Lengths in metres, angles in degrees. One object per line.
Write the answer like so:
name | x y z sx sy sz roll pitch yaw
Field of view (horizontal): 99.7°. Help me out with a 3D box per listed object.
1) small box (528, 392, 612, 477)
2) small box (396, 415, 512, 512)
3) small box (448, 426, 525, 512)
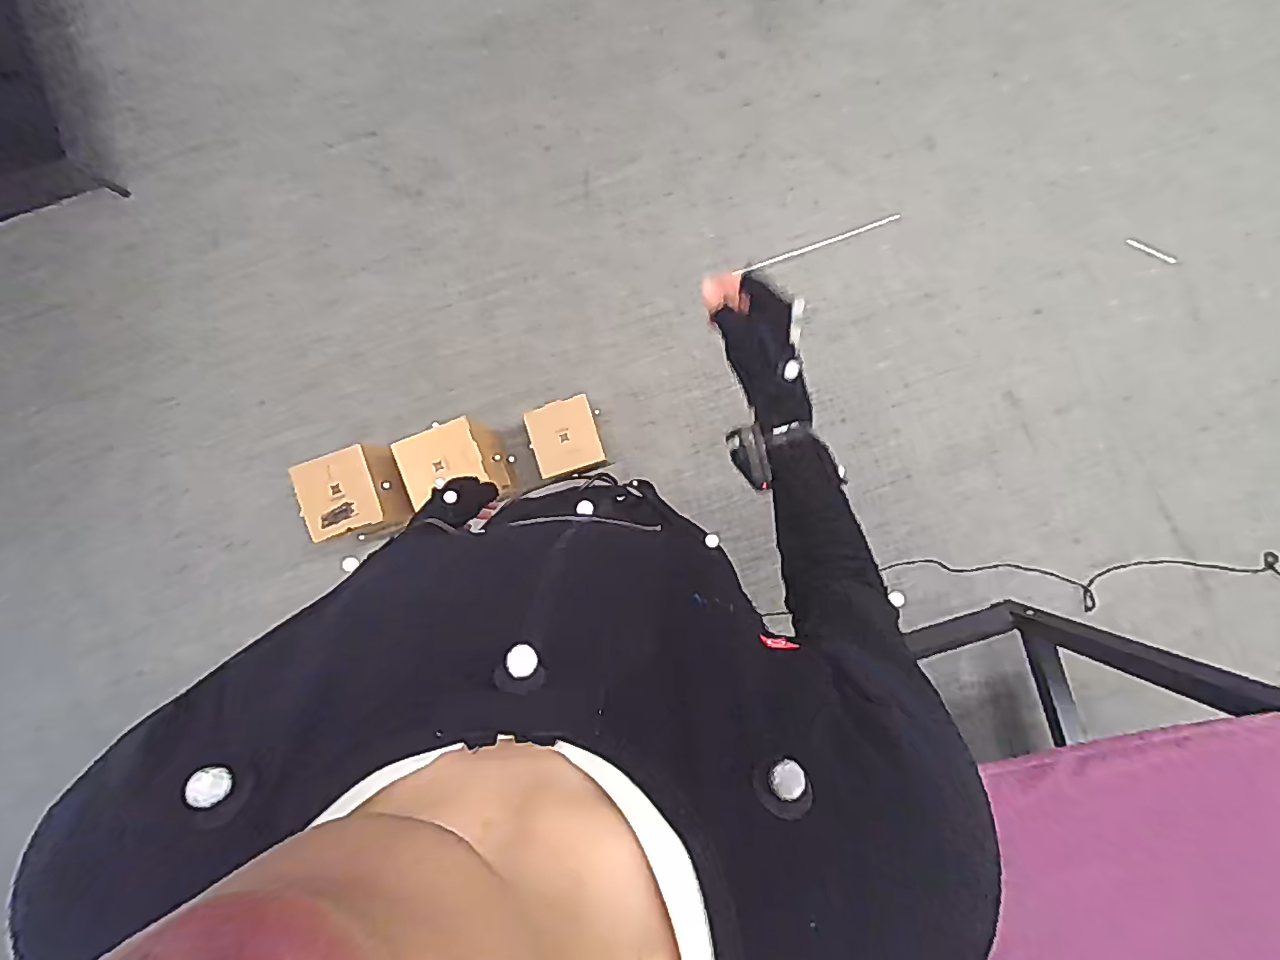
small box | -0.176 -0.111 1.403 0.168 0.176 0.179 -17 90 1
small box | -0.417 -0.033 1.241 0.179 0.176 0.168 -21 90 0
small box | -0.418 -0.026 1.404 0.168 0.176 0.179 -20 89 2
